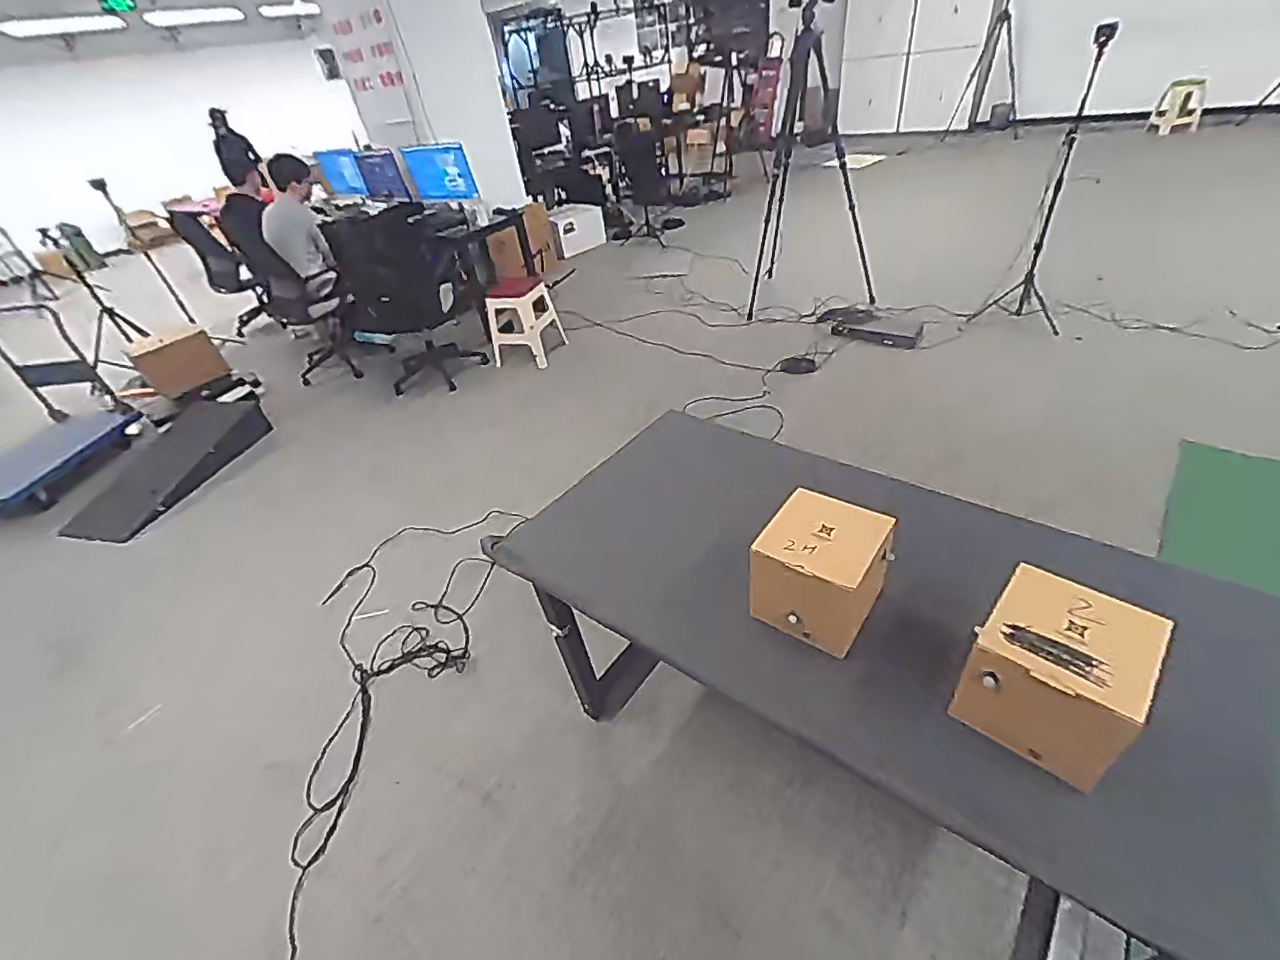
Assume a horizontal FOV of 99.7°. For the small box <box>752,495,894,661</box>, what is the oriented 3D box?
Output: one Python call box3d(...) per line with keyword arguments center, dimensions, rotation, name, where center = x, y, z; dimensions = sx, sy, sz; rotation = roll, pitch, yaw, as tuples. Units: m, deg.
box3d(center=(0.296, 0.159, 0.896), dimensions=(0.168, 0.176, 0.179), rotation=(21, 46, 34), name="small box")
